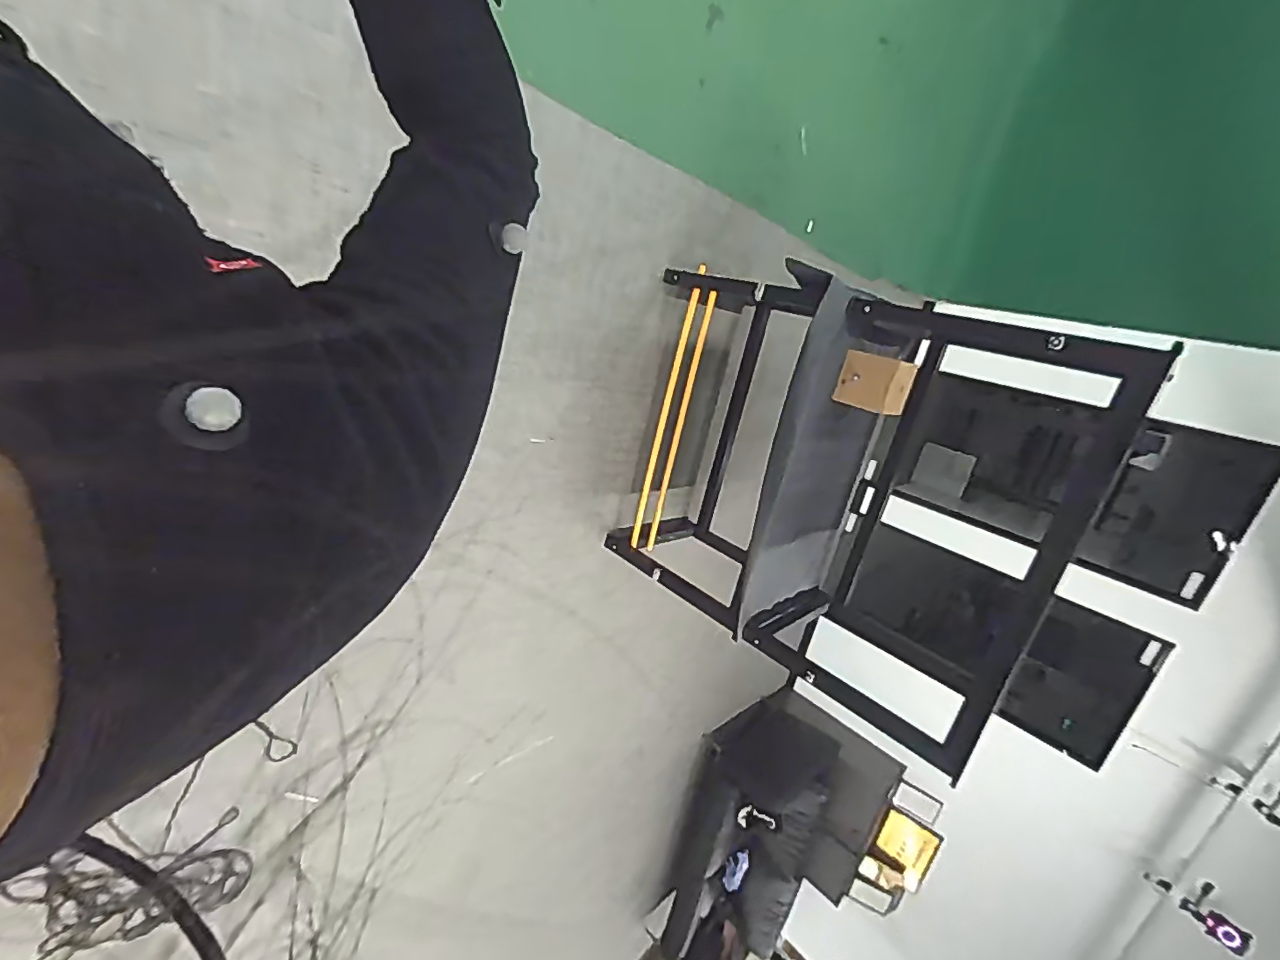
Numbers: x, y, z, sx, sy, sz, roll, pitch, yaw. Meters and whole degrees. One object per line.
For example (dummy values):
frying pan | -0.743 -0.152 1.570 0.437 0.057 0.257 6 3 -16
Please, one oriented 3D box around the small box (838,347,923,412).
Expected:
small box | 0.763 -0.321 1.719 0.179 0.176 0.168 -6 116 -46
